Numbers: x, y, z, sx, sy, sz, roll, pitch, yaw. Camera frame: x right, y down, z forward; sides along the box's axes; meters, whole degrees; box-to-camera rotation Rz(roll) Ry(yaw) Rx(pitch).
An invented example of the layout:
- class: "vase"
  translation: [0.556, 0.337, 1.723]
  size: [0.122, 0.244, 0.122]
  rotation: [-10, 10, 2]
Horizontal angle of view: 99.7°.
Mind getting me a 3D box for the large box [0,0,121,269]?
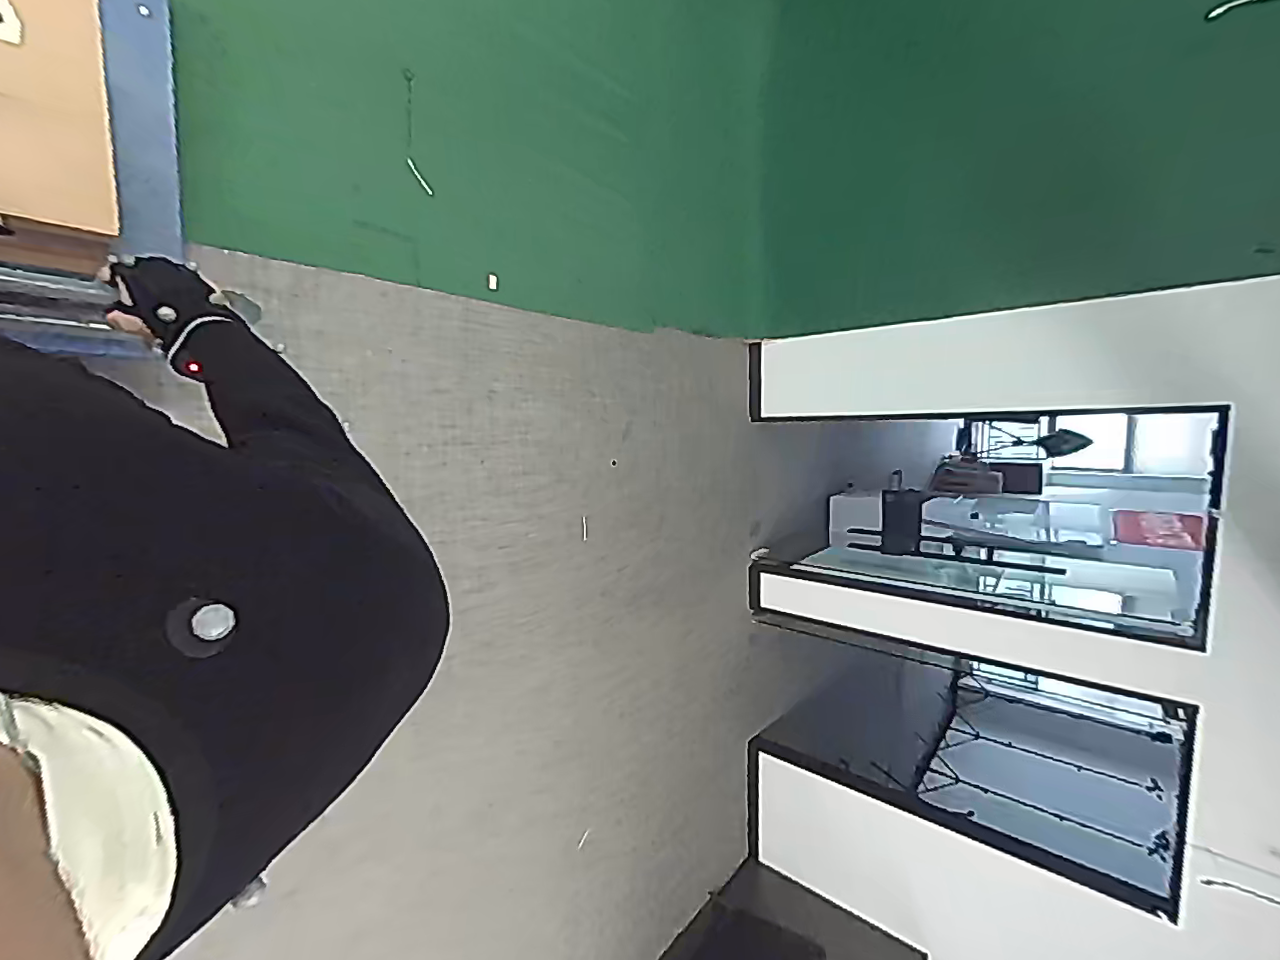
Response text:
- class: "large box"
  translation: [-1.047, -0.583, 0.829]
  size: [0.320, 0.320, 0.408]
  rotation: [-7, 98, -49]
